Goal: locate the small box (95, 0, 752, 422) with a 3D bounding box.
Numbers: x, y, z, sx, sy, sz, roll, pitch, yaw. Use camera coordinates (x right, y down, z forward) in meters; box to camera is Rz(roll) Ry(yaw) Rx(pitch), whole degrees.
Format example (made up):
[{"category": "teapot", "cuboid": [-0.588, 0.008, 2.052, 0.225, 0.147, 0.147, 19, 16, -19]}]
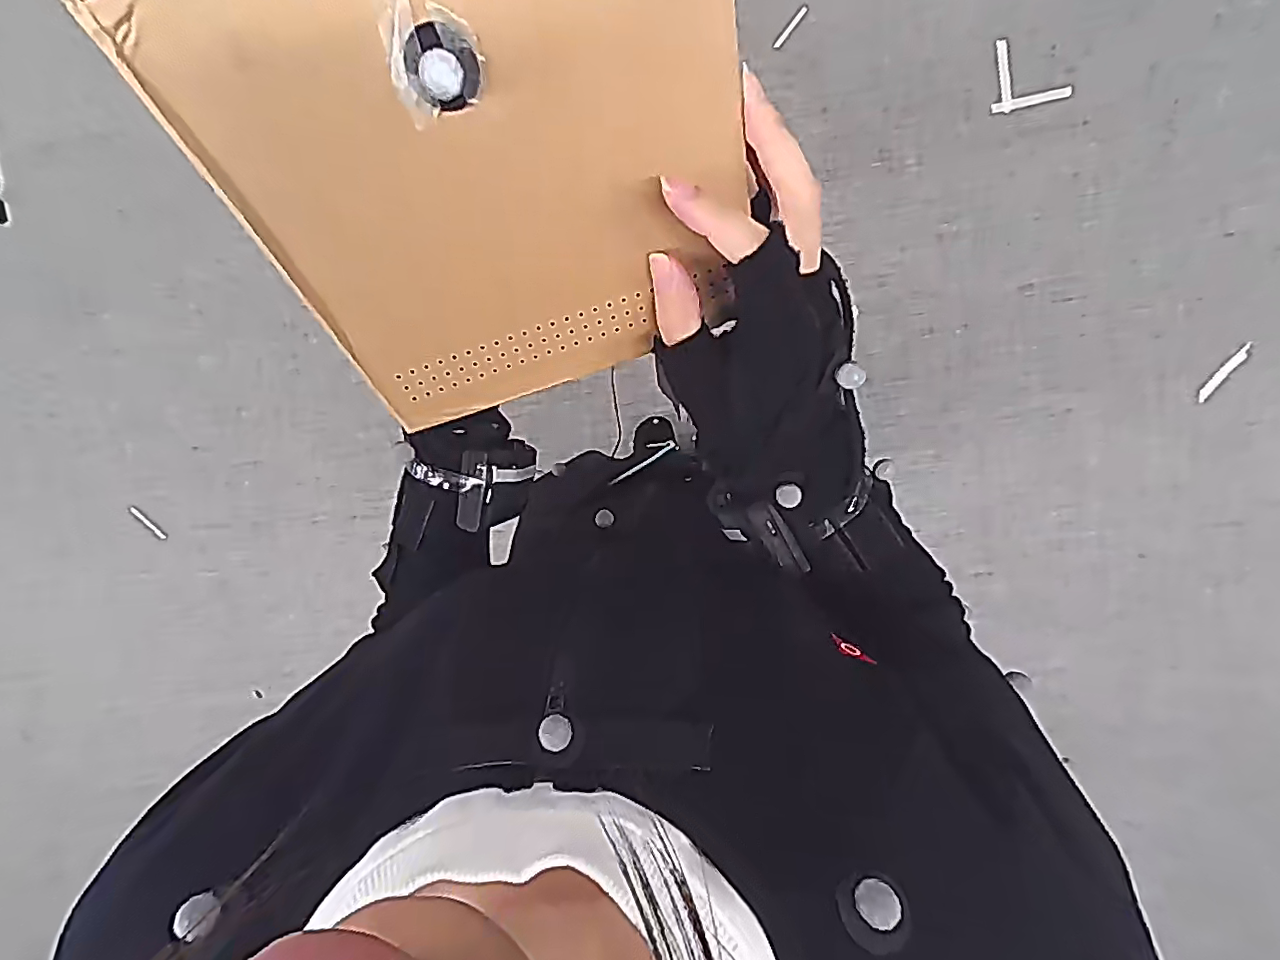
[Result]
[{"category": "small box", "cuboid": [-0.060, -0.152, 0.250, 0.179, 0.168, 0.176, -18, 140, 2]}]
